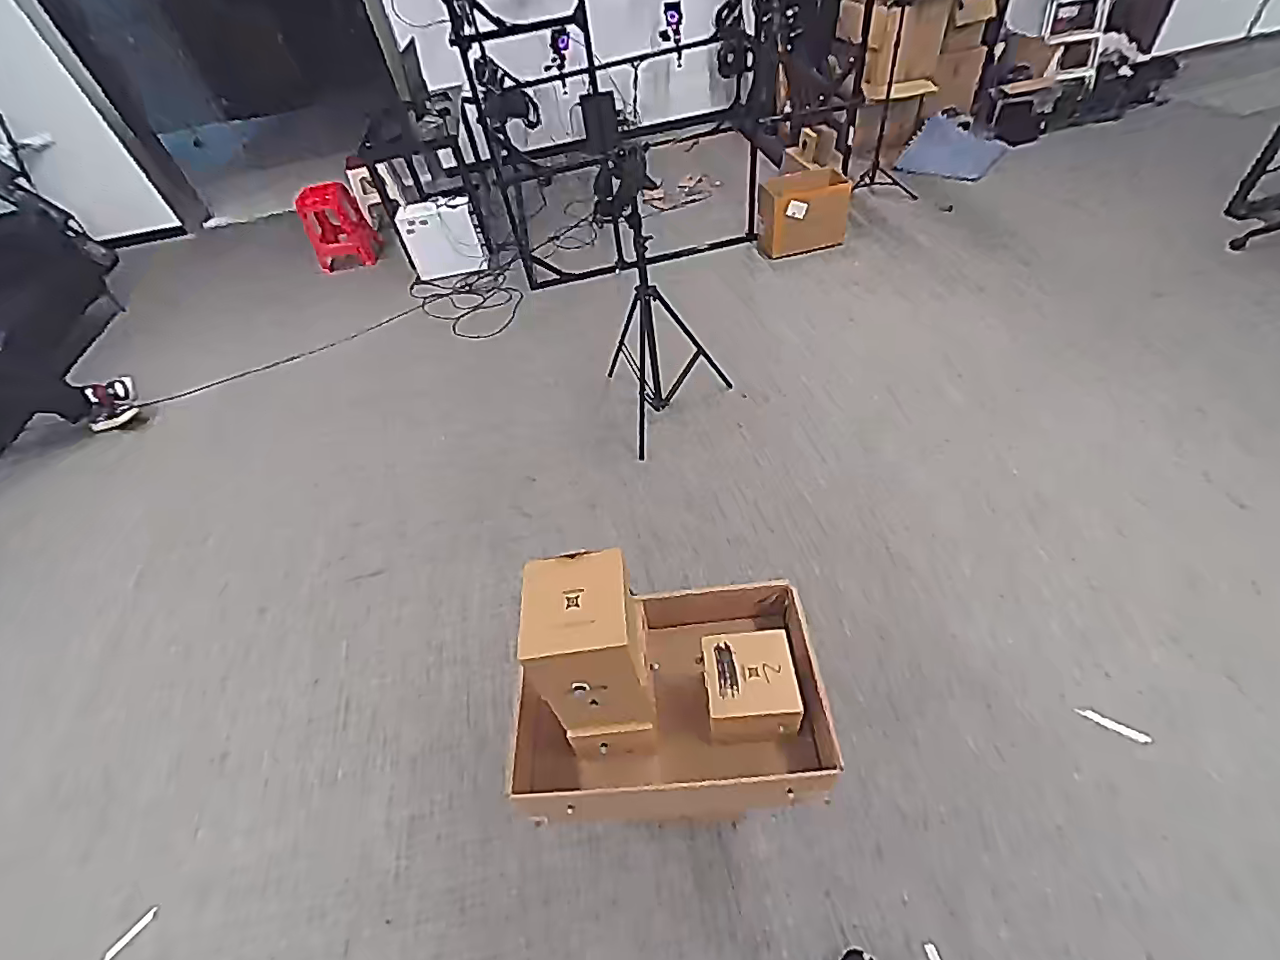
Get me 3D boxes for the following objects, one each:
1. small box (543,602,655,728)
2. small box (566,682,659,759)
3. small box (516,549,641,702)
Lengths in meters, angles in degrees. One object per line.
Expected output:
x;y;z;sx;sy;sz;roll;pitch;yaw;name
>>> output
-0.069;0.349;1.009;0.179;0.176;0.168;-6;47;3;small box
-0.054;0.465;1.124;0.168;0.176;0.179;-7;47;2;small box
-0.094;0.240;0.888;0.168;0.176;0.179;-9;46;2;small box
